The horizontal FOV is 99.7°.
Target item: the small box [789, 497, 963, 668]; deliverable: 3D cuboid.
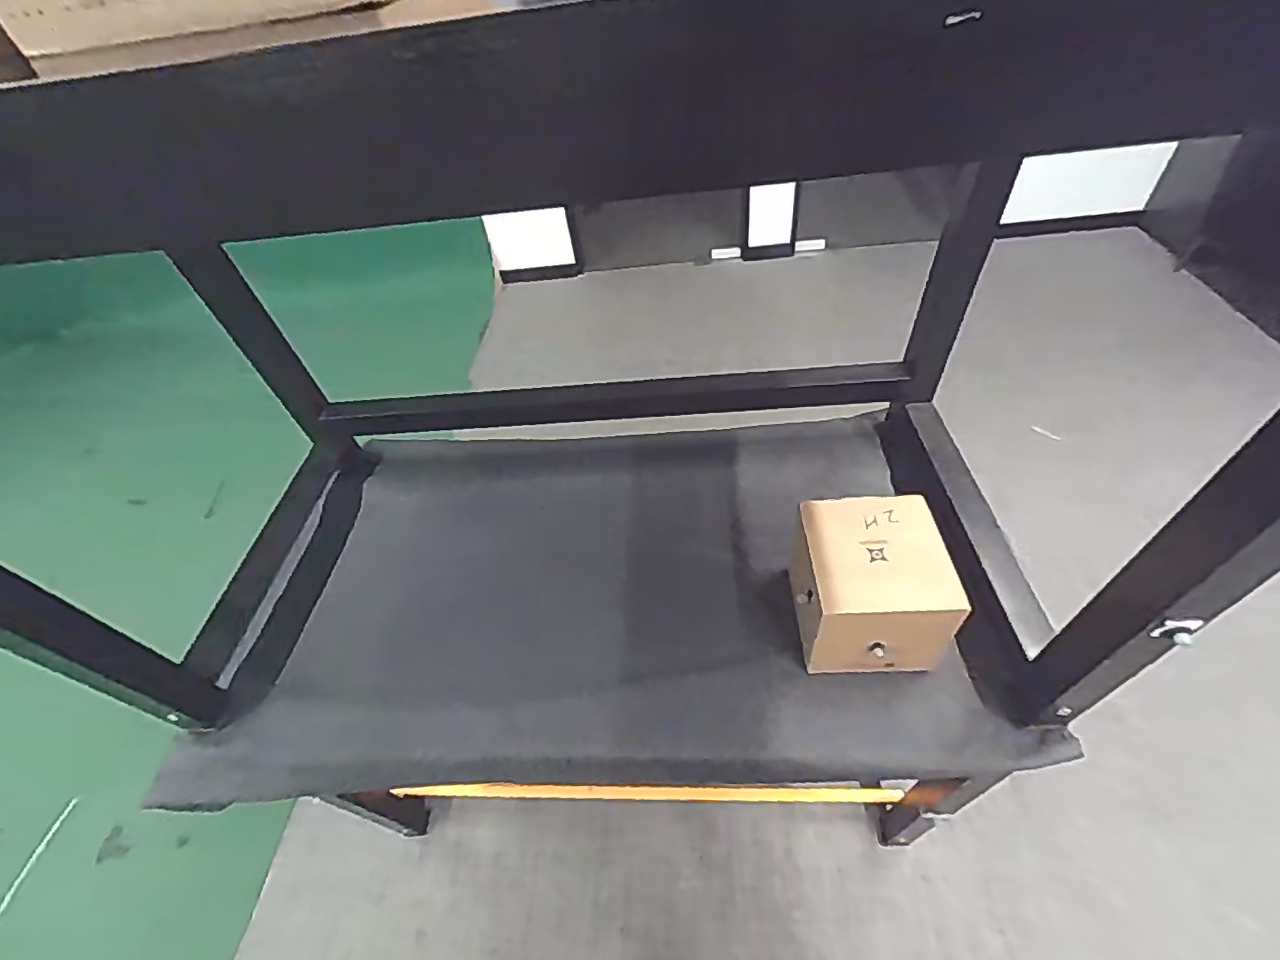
[{"bbox_3d":[0.304,0.144,0.739,0.168,0.176,0.179,-3,47,6],"label":"small box"}]
